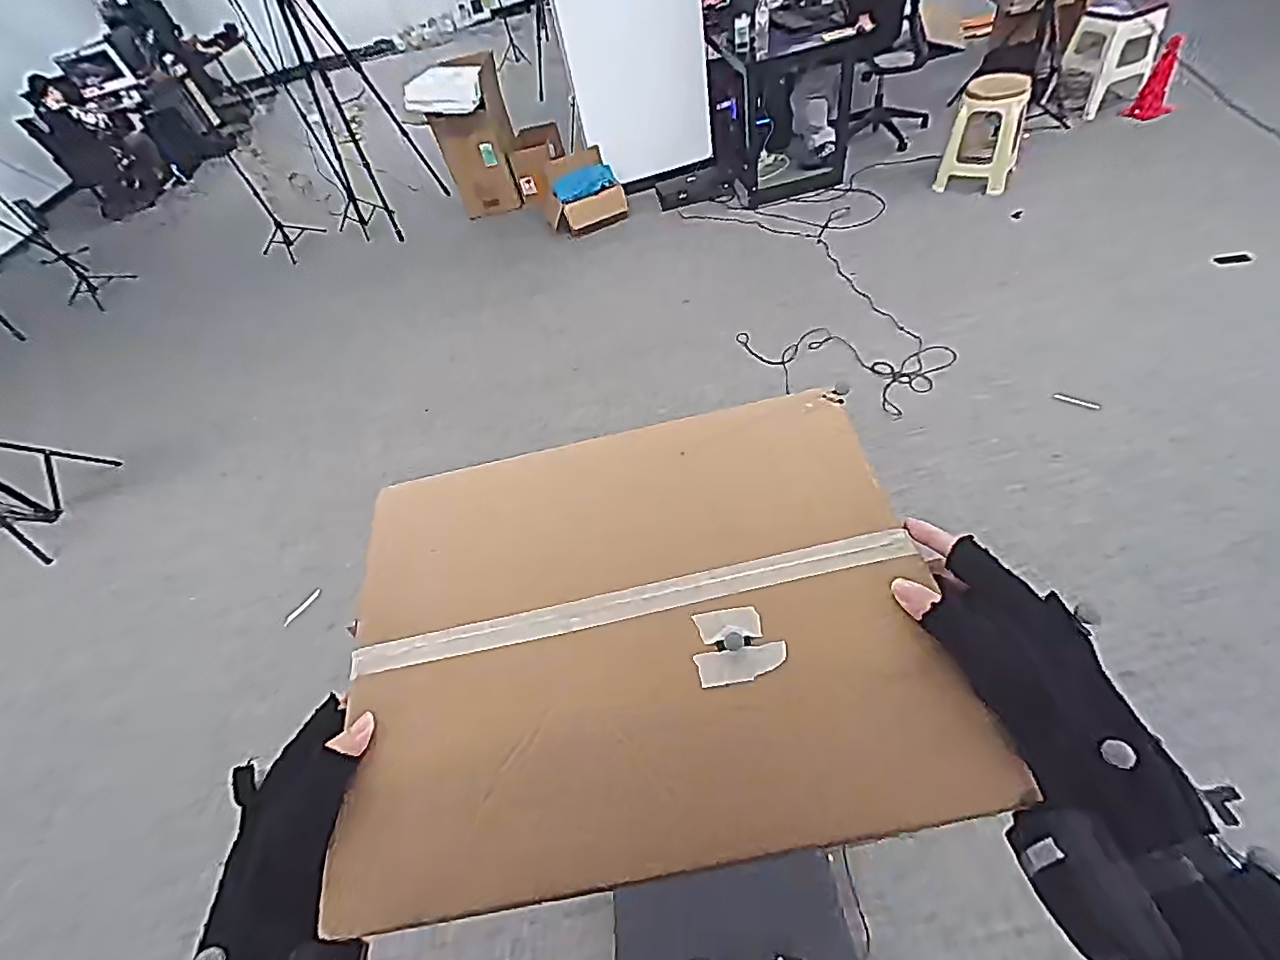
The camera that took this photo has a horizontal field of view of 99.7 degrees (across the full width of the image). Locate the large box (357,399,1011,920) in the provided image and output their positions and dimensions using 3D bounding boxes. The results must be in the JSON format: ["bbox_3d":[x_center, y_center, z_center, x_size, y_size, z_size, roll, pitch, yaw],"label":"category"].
[{"bbox_3d":[0.020,0.177,0.521,0.408,0.320,0.320,-13,55,2],"label":"large box"}]
